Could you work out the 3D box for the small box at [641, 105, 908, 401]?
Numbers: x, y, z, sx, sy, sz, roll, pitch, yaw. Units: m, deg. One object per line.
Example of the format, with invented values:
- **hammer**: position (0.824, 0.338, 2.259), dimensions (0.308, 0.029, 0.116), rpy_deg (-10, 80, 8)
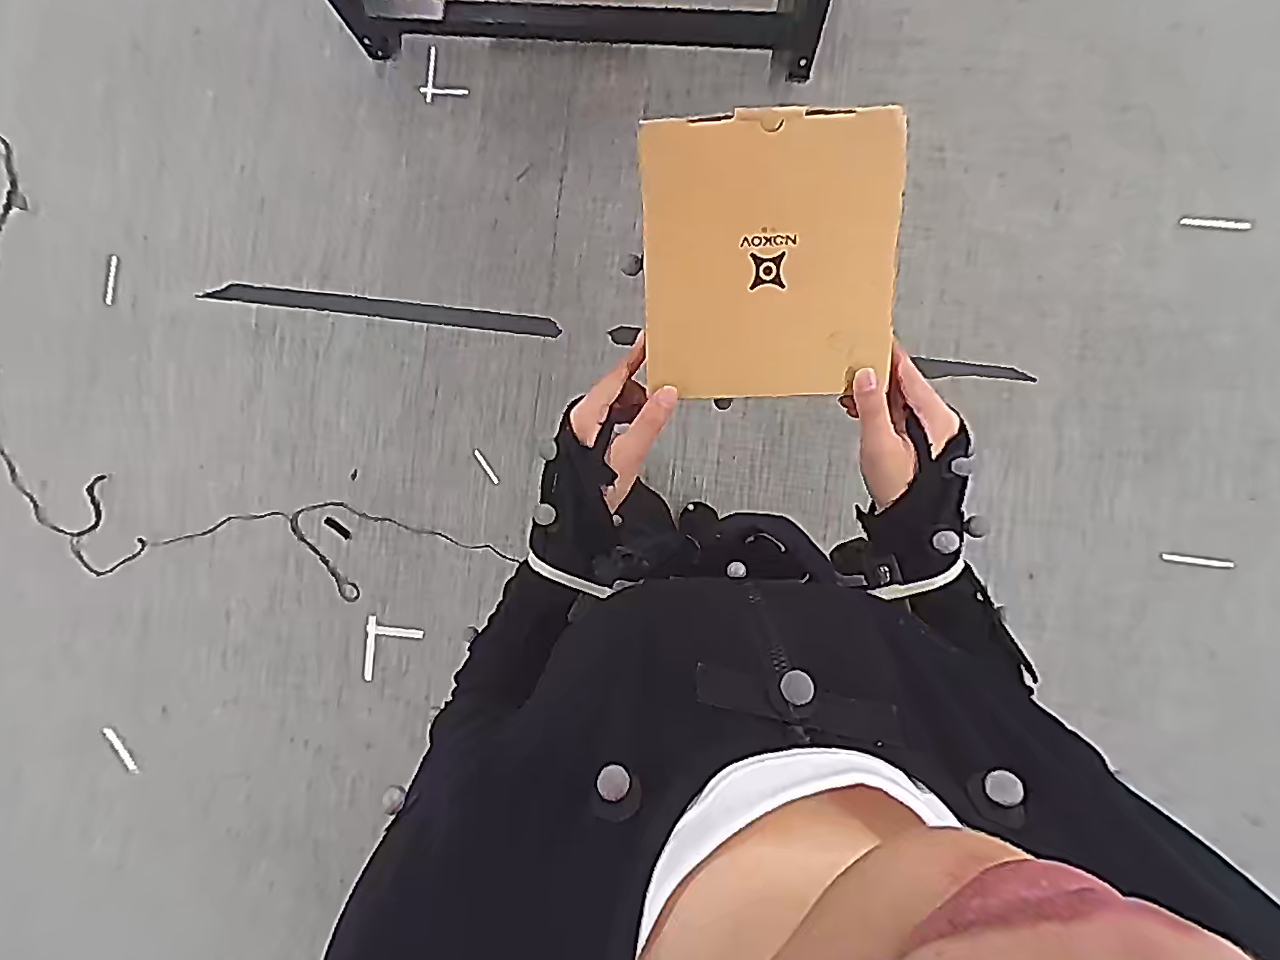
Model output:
- **small box**: position (0.091, -0.160, 0.431), dimensions (0.168, 0.176, 0.179), rpy_deg (-2, 102, 4)
